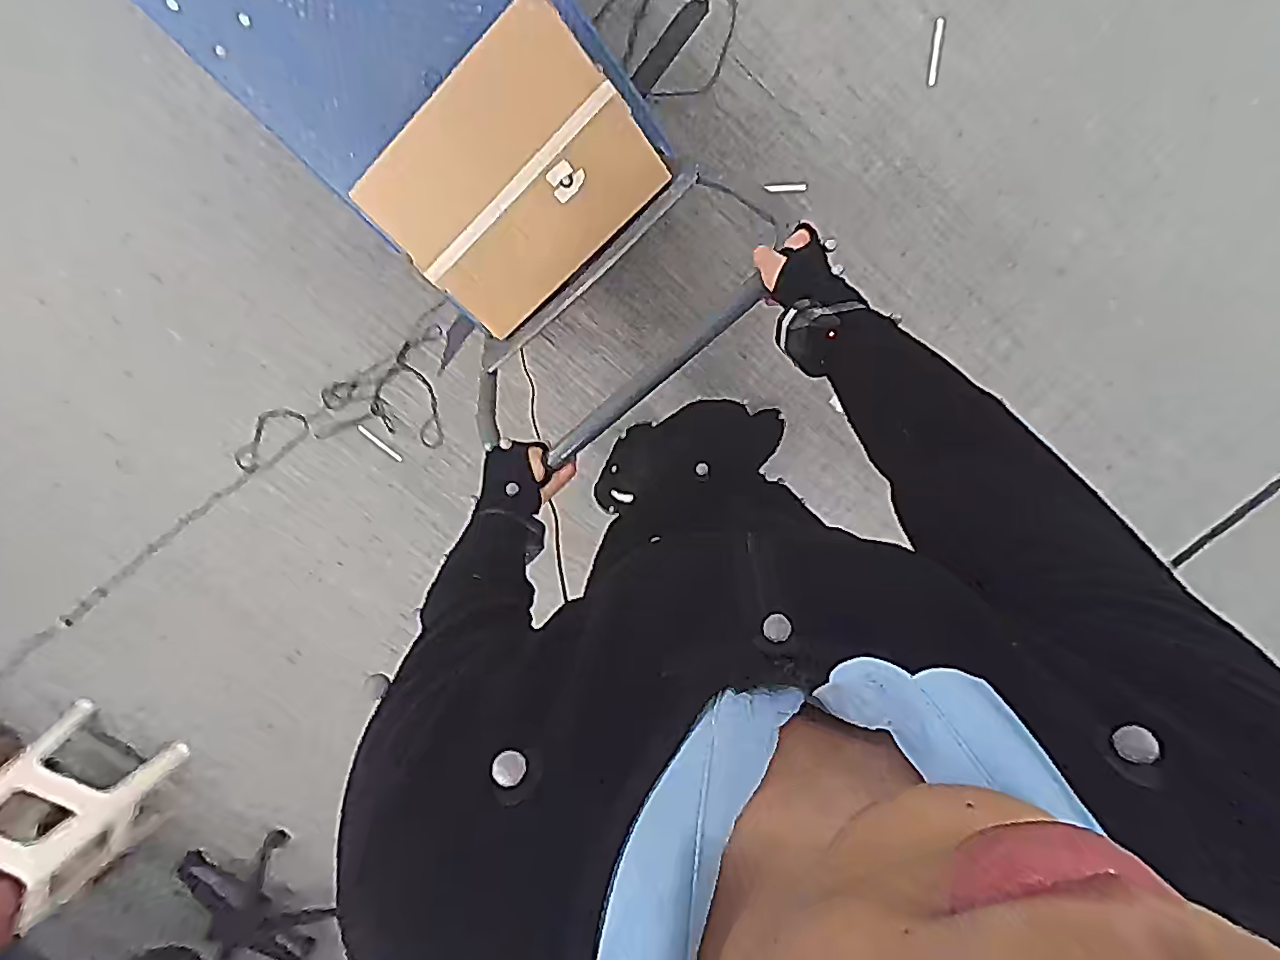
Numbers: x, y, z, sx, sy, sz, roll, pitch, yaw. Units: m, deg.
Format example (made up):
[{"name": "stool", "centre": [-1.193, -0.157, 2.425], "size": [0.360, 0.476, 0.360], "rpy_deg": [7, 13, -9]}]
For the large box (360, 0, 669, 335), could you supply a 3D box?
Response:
[{"name": "large box", "centre": [-0.218, -0.547, 0.987], "size": [0.408, 0.320, 0.320], "rpy_deg": [-40, 120, 13]}]
